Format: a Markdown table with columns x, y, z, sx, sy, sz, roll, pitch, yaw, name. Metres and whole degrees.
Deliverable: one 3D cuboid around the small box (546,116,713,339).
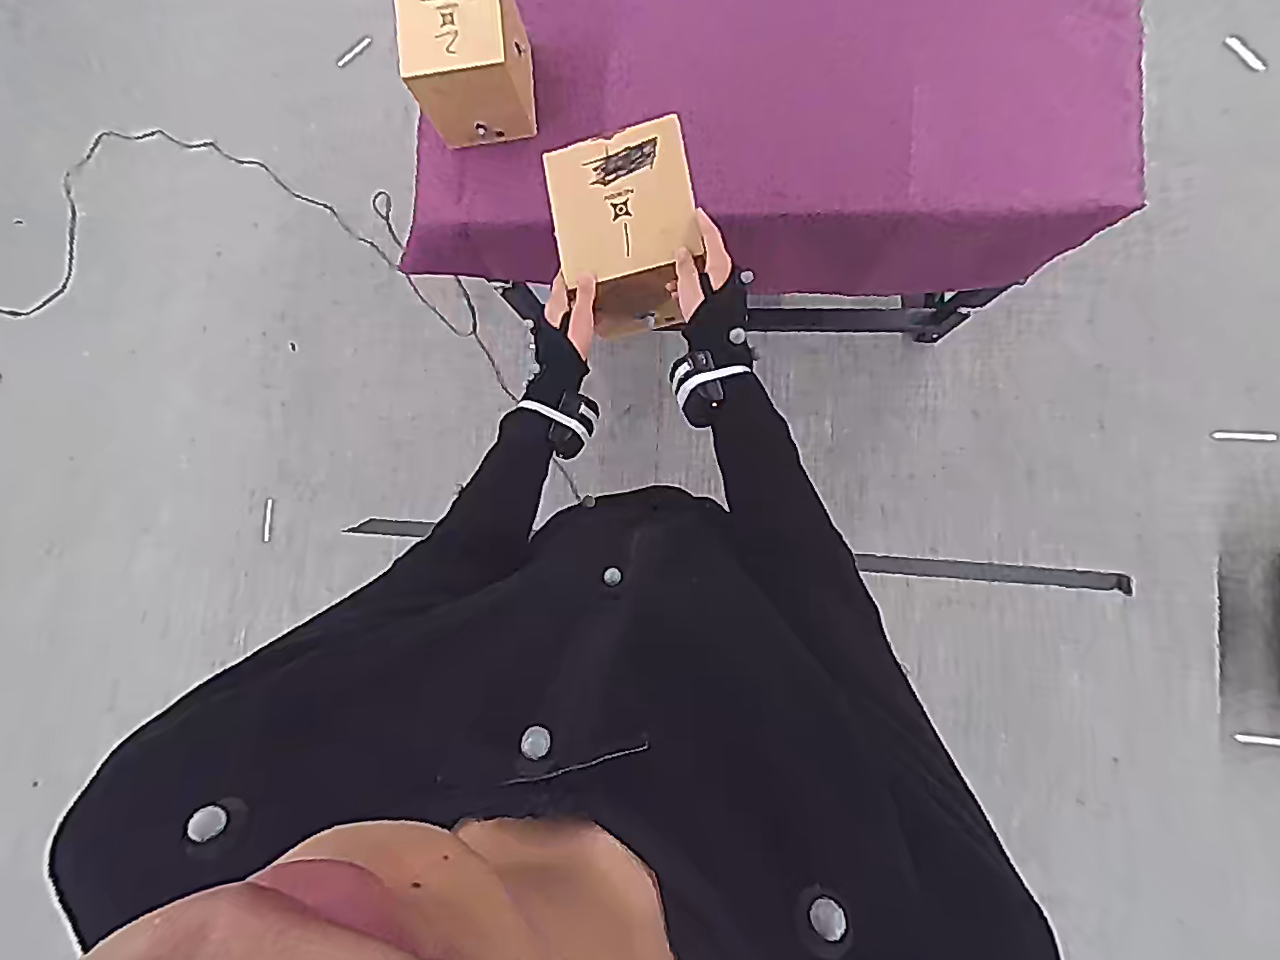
| x | y | z | sx | sy | sz | roll | pitch | yaw | name |
| --- | --- | --- | --- | --- | --- | --- | --- | --- | --- |
| -0.005 | -0.305 | 0.690 | 0.168 | 0.176 | 0.179 | -11 | 83 | 11 | small box |
